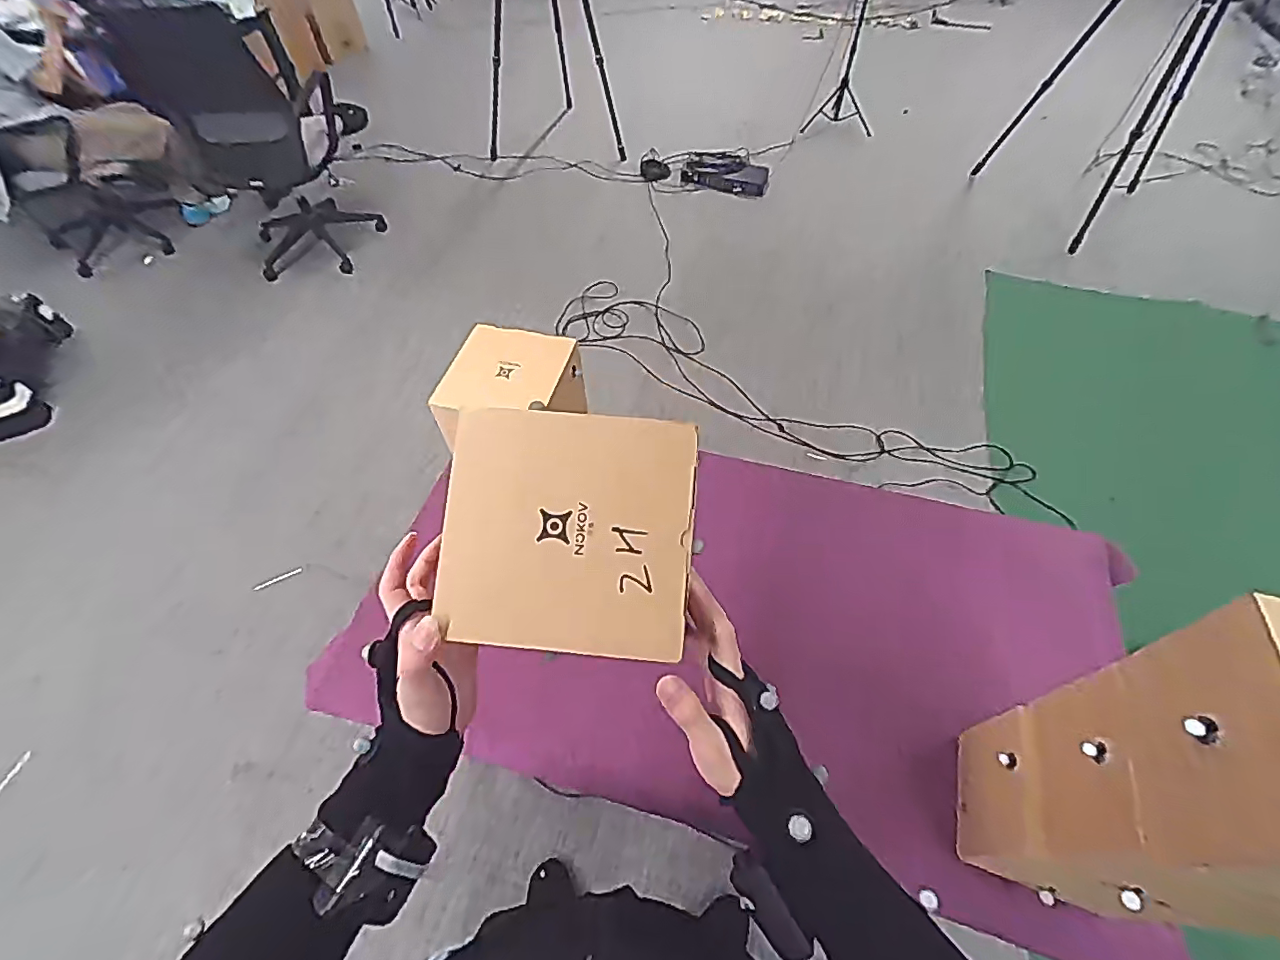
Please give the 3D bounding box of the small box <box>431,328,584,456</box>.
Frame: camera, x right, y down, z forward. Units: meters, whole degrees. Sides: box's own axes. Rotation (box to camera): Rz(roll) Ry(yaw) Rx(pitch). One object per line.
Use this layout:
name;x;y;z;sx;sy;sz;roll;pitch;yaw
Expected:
small box;-0.191;-0.107;0.849;0.168;0.176;0.179;11;55;8

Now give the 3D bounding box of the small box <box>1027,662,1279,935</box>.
small box;0.520;0.316;0.542;0.168;0.176;0.179;15;56;13

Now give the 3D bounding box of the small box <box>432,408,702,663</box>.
small box;-0.046;0.047;0.457;0.179;0.176;0.168;5;82;3

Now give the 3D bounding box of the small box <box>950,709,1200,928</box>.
small box;0.519;0.414;0.672;0.179;0.176;0.168;16;55;12
